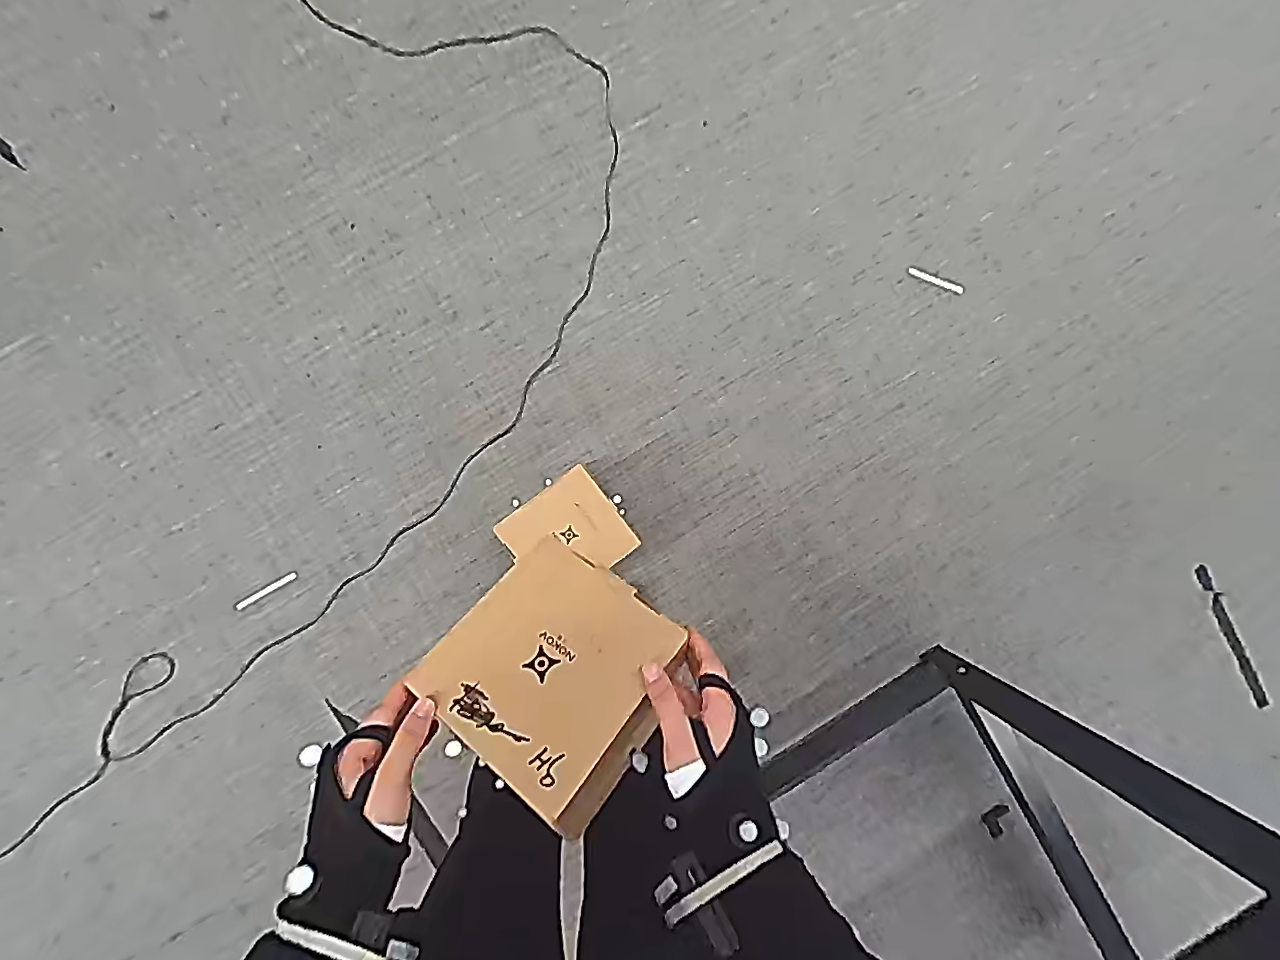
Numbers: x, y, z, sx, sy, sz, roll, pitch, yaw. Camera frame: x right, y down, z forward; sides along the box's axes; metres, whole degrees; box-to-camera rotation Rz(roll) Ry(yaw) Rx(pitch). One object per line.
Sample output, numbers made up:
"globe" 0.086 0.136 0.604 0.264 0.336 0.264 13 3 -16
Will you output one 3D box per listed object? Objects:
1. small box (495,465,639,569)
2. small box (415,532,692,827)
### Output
"small box" -0.122 0.090 0.940 0.179 0.176 0.168 -37 95 -4
"small box" -0.071 0.190 0.516 0.168 0.176 0.179 30 58 22
